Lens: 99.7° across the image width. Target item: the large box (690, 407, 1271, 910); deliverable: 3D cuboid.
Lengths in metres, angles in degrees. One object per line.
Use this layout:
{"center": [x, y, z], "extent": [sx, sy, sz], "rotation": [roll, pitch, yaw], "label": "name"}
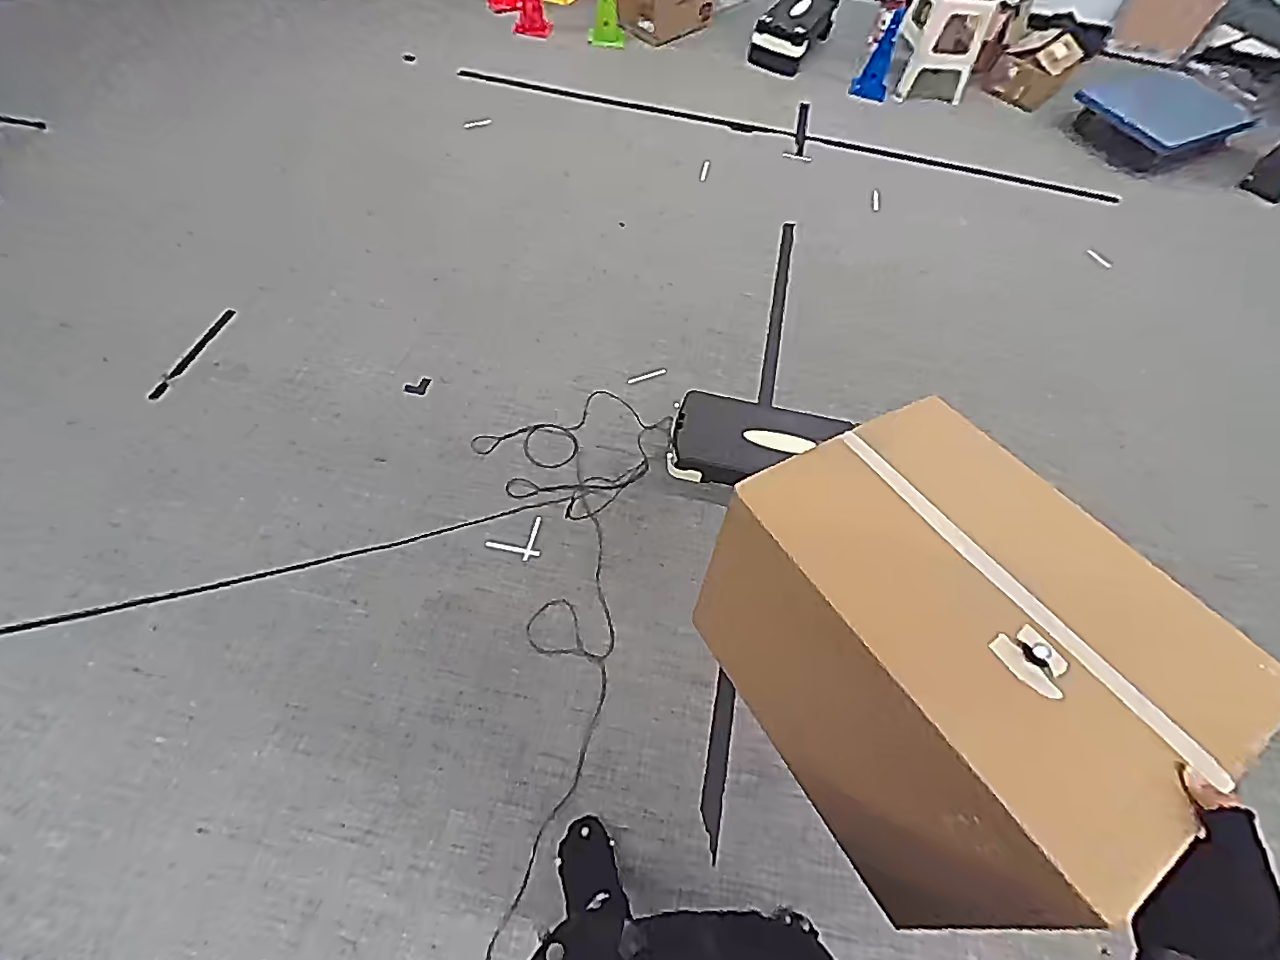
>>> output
{"center": [0.311, 0.188, 0.630], "extent": [0.320, 0.320, 0.408], "rotation": [-23, 57, -21], "label": "large box"}
